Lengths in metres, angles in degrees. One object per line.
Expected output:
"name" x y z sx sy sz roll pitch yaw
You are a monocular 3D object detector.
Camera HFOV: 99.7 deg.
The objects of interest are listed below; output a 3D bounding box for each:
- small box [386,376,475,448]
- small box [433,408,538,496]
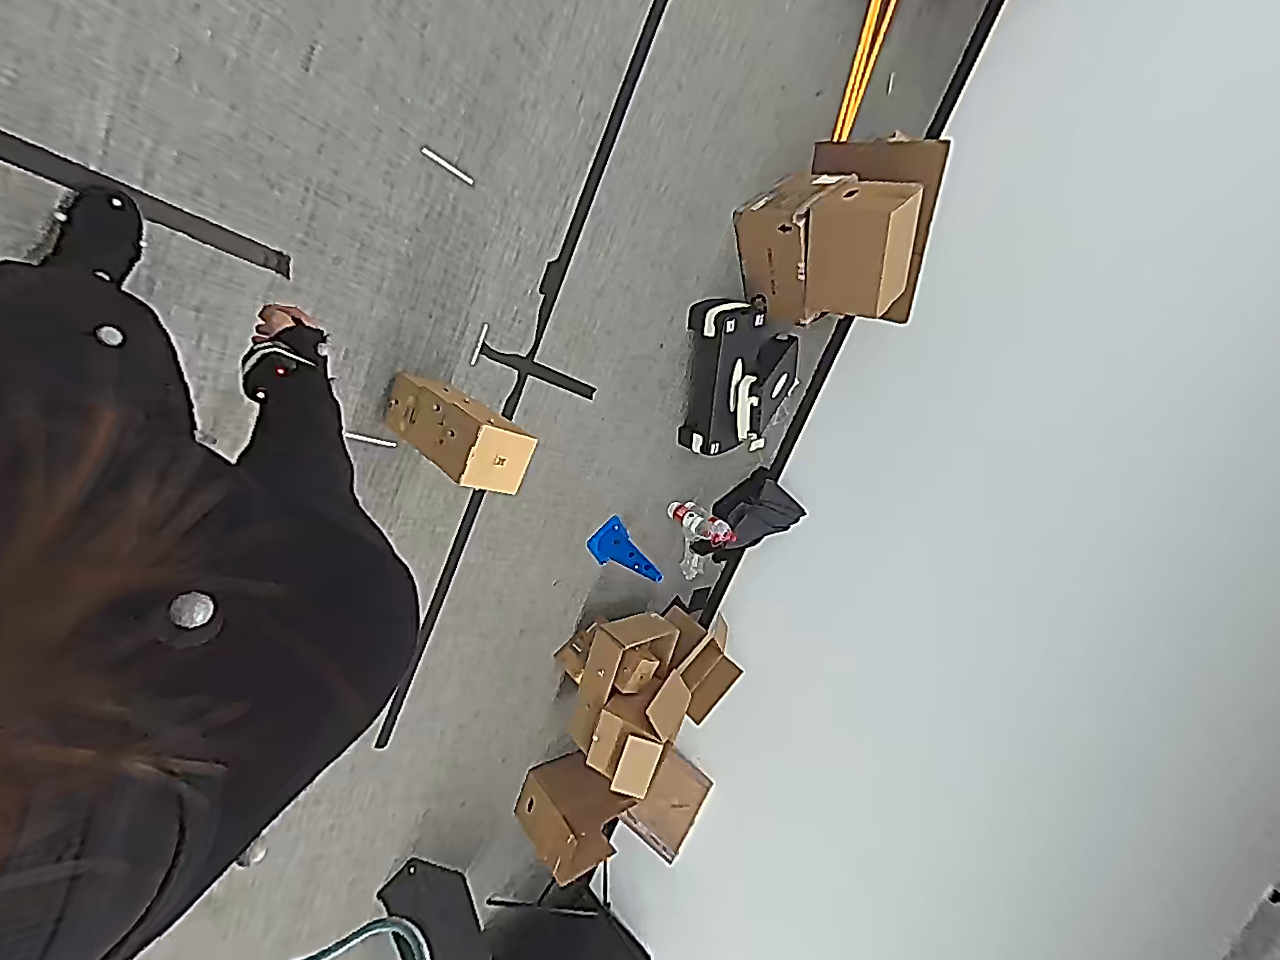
"small box" -0.631 -0.200 1.624 0.179 0.176 0.168 9 106 -48
"small box" -0.408 -0.075 1.419 0.179 0.176 0.168 14 104 -49
